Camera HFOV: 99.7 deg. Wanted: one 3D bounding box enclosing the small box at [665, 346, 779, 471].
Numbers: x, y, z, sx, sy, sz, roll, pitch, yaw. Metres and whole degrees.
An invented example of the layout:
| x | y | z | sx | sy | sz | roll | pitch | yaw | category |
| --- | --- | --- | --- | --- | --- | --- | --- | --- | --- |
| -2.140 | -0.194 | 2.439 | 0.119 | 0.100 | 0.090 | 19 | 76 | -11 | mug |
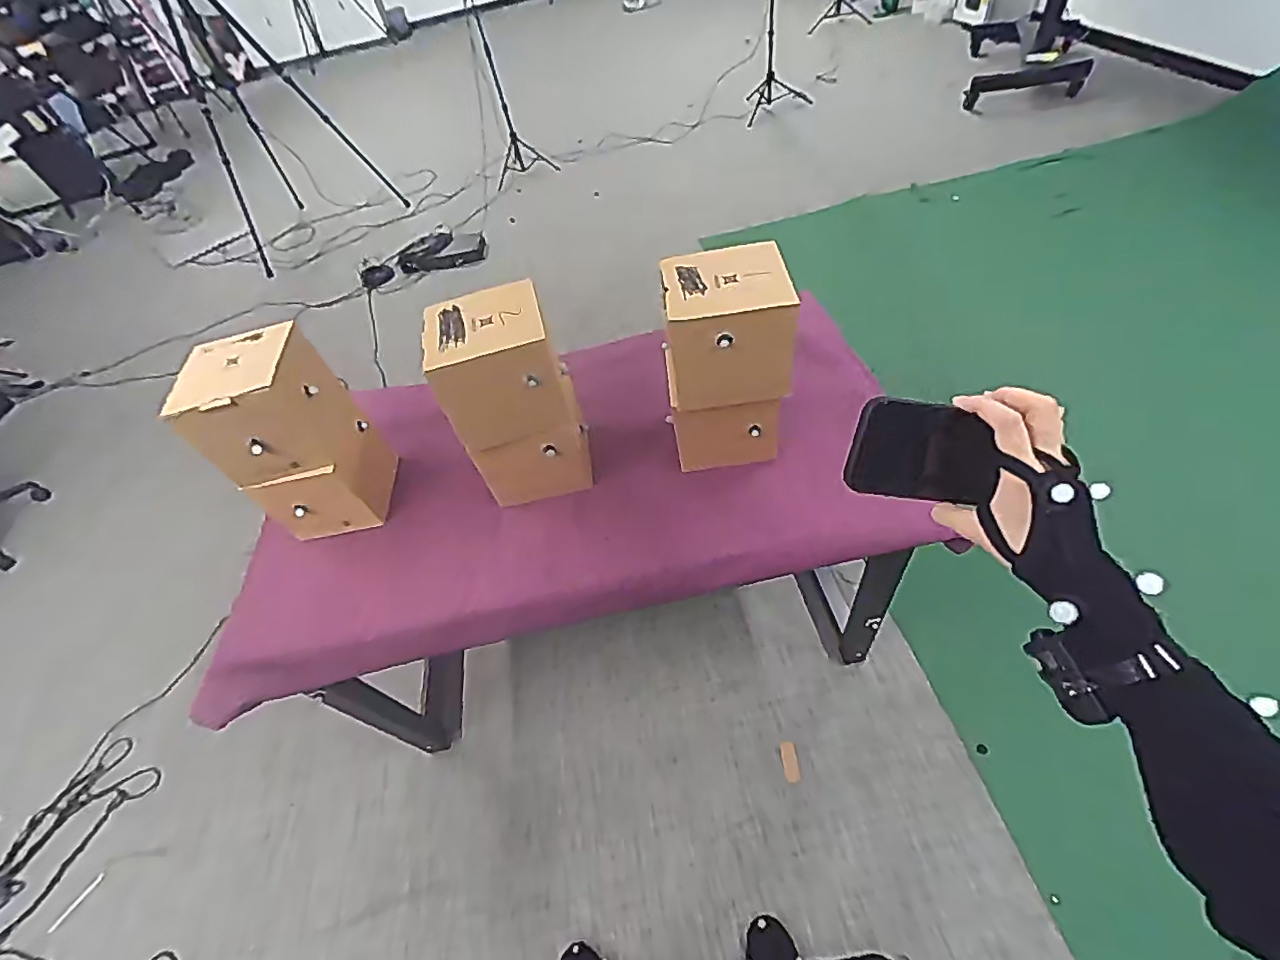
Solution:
| x | y | z | sx | sy | sz | roll | pitch | yaw | category |
| --- | --- | --- | --- | --- | --- | --- | --- | --- | --- |
| 0.141 | -0.134 | 0.957 | 0.179 | 0.176 | 0.168 | -7 | 51 | 7 | small box |

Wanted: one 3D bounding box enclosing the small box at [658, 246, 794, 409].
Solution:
| x | y | z | sx | sy | sz | roll | pitch | yaw | category |
| --- | --- | --- | --- | --- | --- | --- | --- | --- | --- |
| 0.127 | -0.225 | 0.820 | 0.179 | 0.176 | 0.168 | -6 | 51 | 5 | small box |

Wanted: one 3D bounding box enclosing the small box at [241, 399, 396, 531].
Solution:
| x | y | z | sx | sy | sz | roll | pitch | yaw | category |
| --- | --- | --- | --- | --- | --- | --- | --- | --- | --- |
| -0.580 | -0.020 | 1.006 | 0.168 | 0.176 | 0.179 | -11 | 51 | 3 | small box |

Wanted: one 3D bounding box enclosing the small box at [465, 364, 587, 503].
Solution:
| x | y | z | sx | sy | sz | roll | pitch | yaw | category |
| --- | --- | --- | --- | --- | --- | --- | --- | --- | --- |
| -0.195 | -0.080 | 0.977 | 0.179 | 0.176 | 0.168 | -11 | 51 | 2 | small box |

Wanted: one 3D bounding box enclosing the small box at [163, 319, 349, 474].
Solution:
| x | y | z | sx | sy | sz | roll | pitch | yaw | category |
| --- | --- | --- | --- | --- | --- | --- | --- | --- | --- |
| -0.606 | -0.128 | 0.884 | 0.168 | 0.176 | 0.179 | -14 | 51 | -1 | small box |
